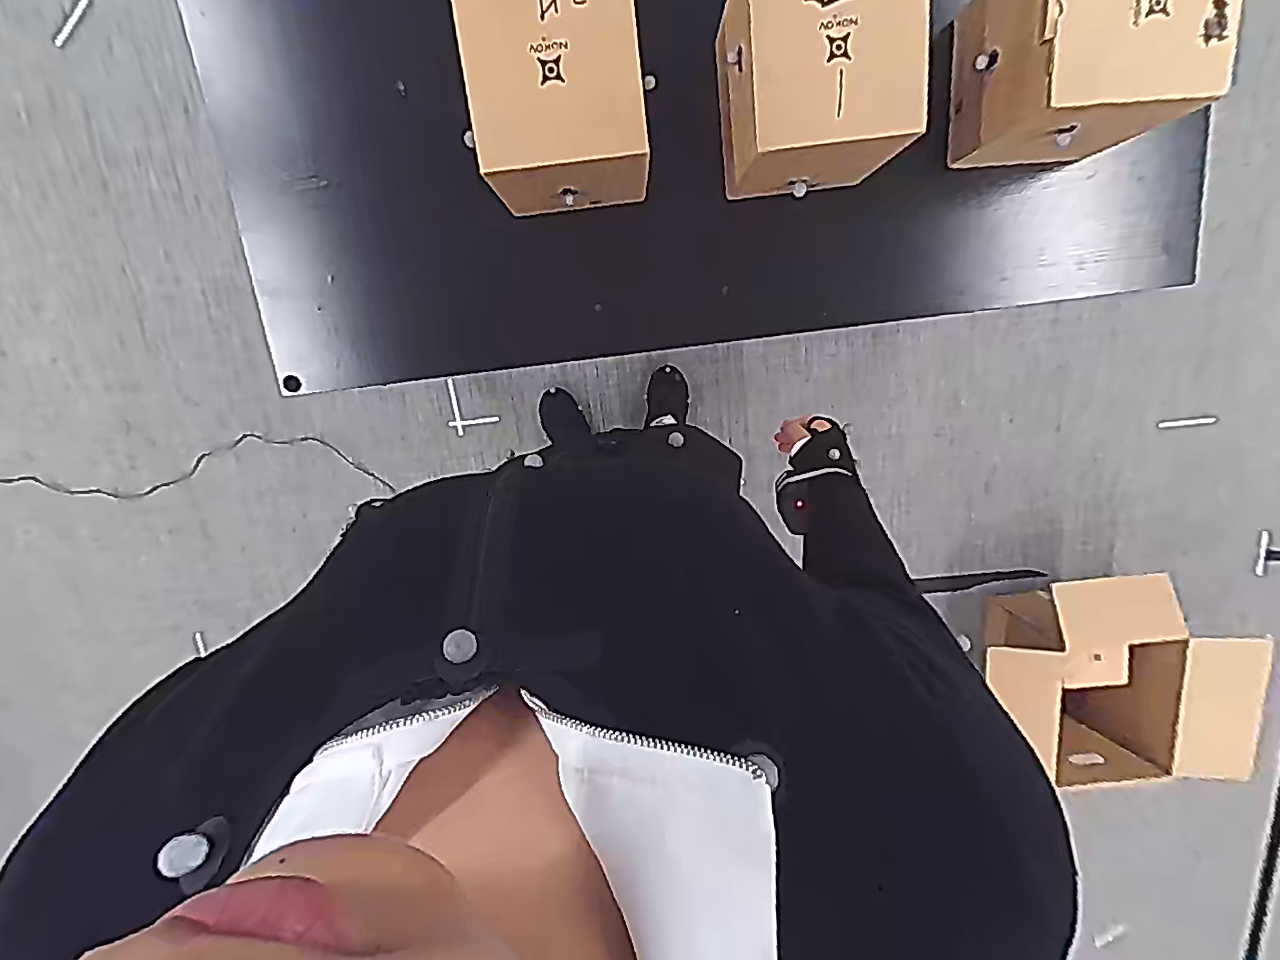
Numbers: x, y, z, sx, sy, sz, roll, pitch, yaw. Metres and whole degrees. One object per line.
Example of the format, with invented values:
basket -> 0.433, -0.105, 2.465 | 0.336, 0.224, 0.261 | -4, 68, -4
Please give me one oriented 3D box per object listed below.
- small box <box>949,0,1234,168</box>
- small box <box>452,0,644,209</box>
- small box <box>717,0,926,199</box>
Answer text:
small box -> 0.460, -0.452, 0.577 | 0.179, 0.176, 0.168 | -4, 103, 1
small box -> -0.084, -0.403, 0.576 | 0.168, 0.176, 0.179 | -6, 103, 0
small box -> 0.180, -0.424, 0.577 | 0.168, 0.176, 0.179 | -6, 104, 0
